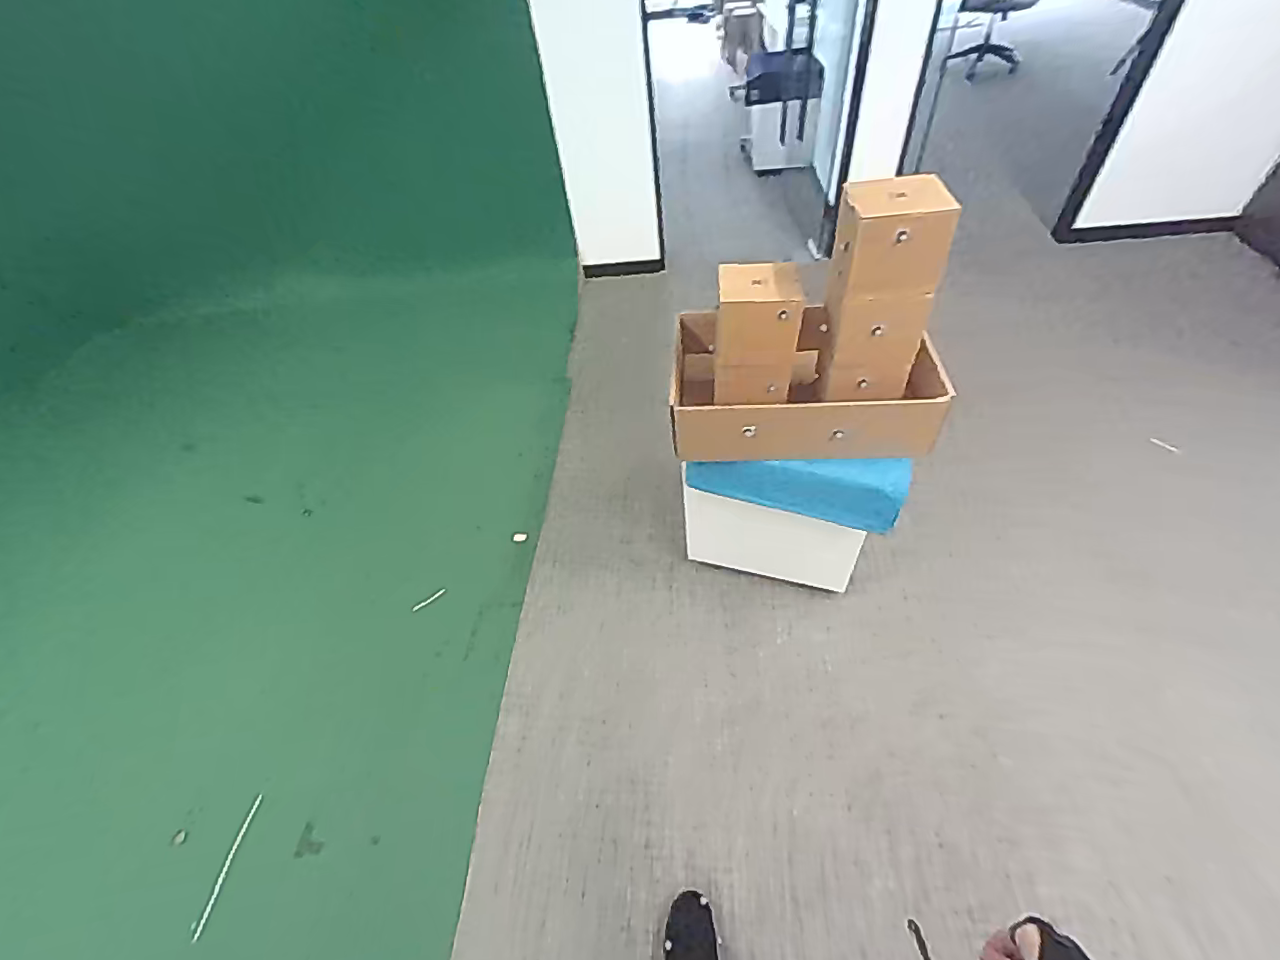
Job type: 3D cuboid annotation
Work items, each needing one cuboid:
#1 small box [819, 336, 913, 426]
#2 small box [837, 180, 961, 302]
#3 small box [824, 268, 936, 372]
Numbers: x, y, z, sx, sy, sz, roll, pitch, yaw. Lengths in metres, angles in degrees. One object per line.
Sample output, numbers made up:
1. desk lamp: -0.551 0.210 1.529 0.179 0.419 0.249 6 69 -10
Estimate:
1. small box: 0.534 -0.242 1.306 0.179 0.176 0.168 -1 47 9
2. small box: 0.498 -0.470 1.074 0.179 0.176 0.168 -1 47 8
3. small box: 0.515 -0.354 1.188 0.179 0.176 0.168 -2 47 9
